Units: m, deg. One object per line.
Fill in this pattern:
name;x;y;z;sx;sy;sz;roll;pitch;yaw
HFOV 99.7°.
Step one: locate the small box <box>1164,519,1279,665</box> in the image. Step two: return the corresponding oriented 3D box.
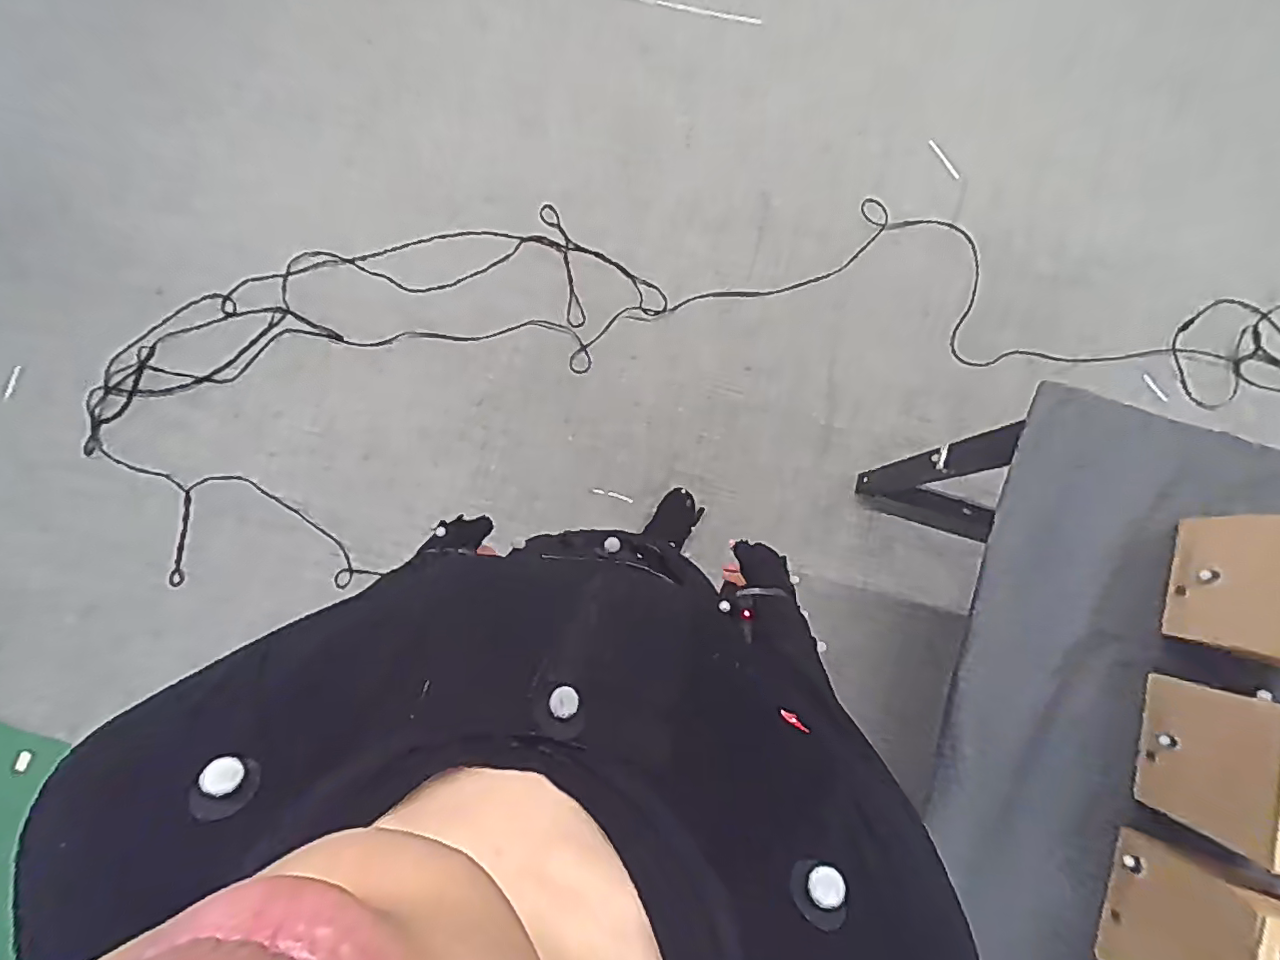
small box;0.814;0.145;0.658;0.179;0.176;0.168;16;84;2
